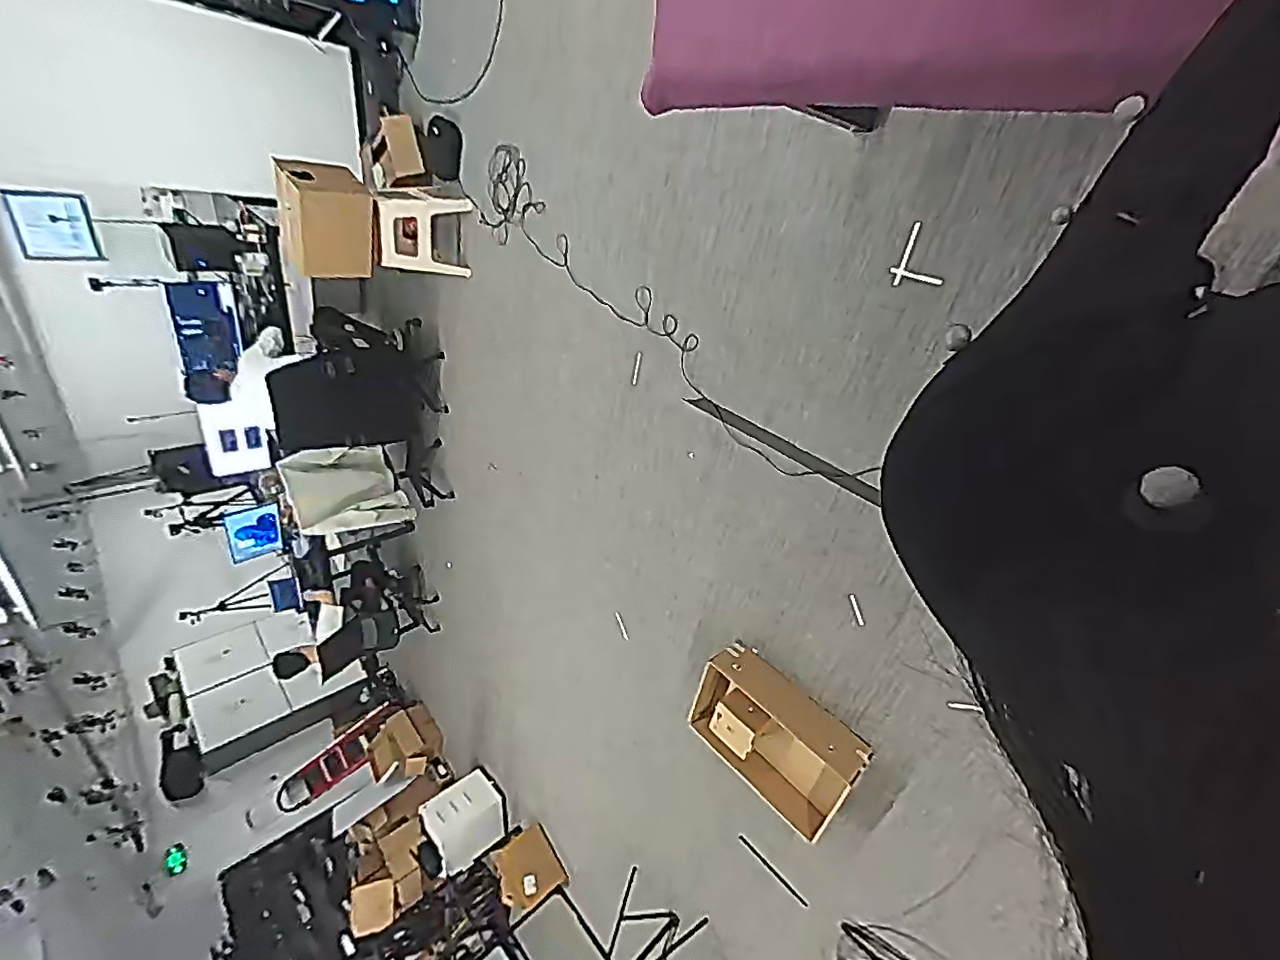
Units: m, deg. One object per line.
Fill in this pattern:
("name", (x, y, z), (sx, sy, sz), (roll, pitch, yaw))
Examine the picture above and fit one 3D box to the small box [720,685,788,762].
("small box", (0.440, 0.926, 2.074), (0.179, 0.176, 0.168), (34, 126, 33))
